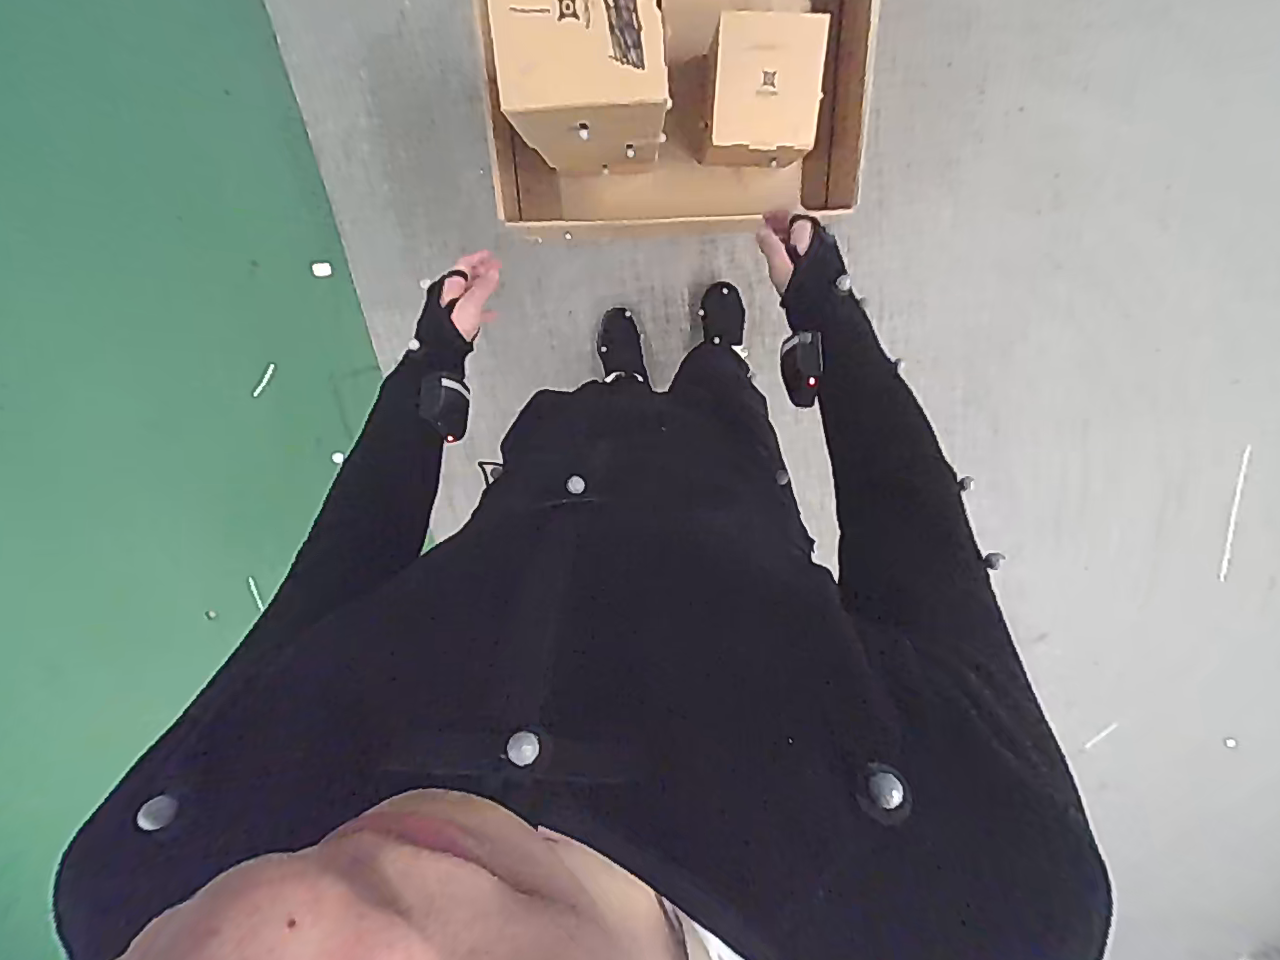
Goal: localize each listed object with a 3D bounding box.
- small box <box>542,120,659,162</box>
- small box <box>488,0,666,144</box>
[{"bbox_3d":[-0.061,-0.560,0.765,0.179,0.176,0.168,-1,111,0],"label":"small box"},{"bbox_3d":[-0.064,-0.496,0.613,0.179,0.176,0.168,-3,110,2],"label":"small box"}]
